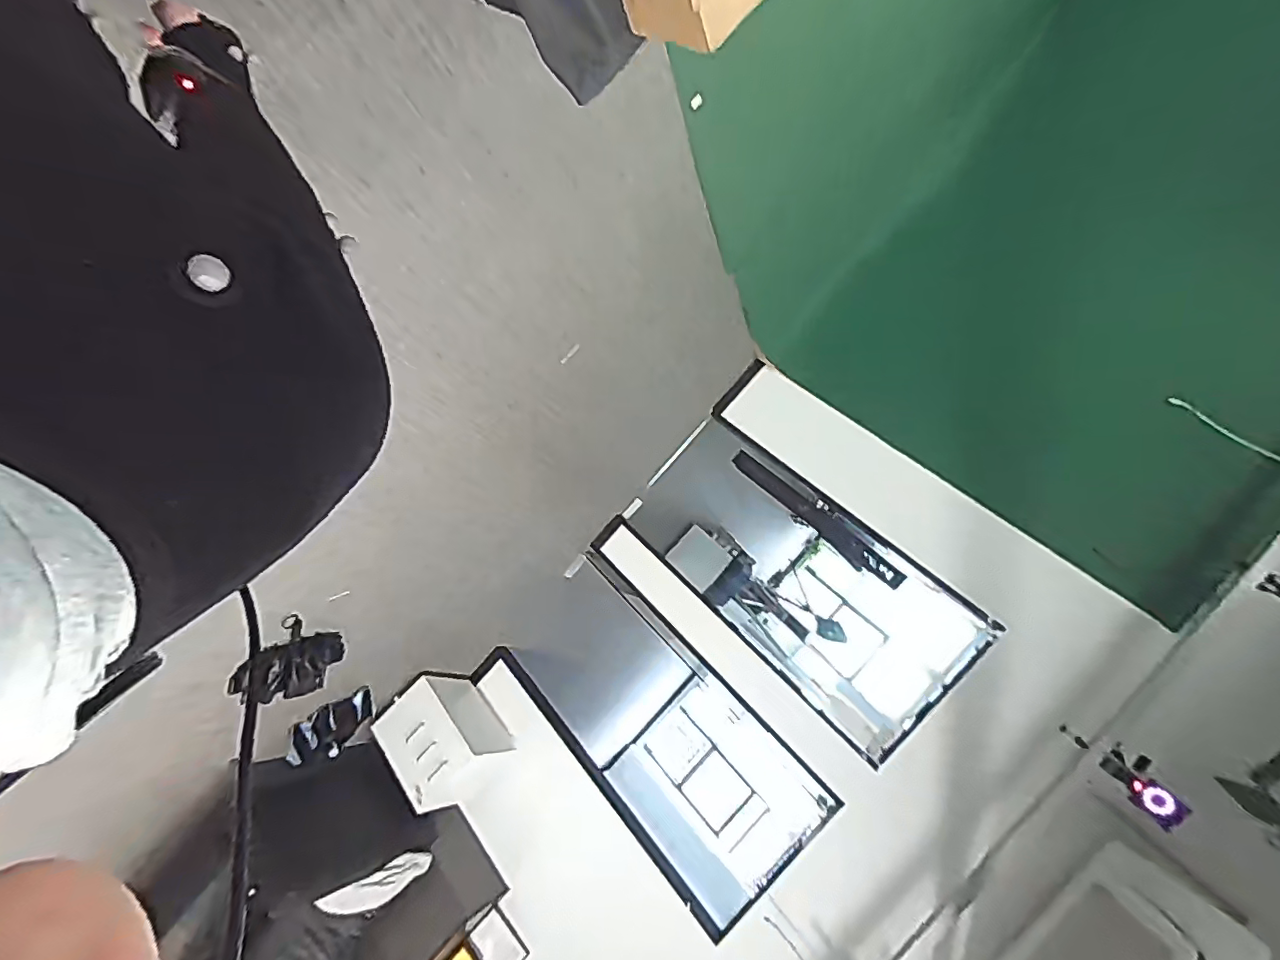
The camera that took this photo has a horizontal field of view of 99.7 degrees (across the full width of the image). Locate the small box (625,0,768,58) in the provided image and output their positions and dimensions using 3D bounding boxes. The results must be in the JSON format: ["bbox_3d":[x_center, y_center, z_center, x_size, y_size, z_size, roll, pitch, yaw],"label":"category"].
[{"bbox_3d":[0.074,-0.738,0.746,0.179,0.176,0.168,-48,152,-2],"label":"small box"}]
